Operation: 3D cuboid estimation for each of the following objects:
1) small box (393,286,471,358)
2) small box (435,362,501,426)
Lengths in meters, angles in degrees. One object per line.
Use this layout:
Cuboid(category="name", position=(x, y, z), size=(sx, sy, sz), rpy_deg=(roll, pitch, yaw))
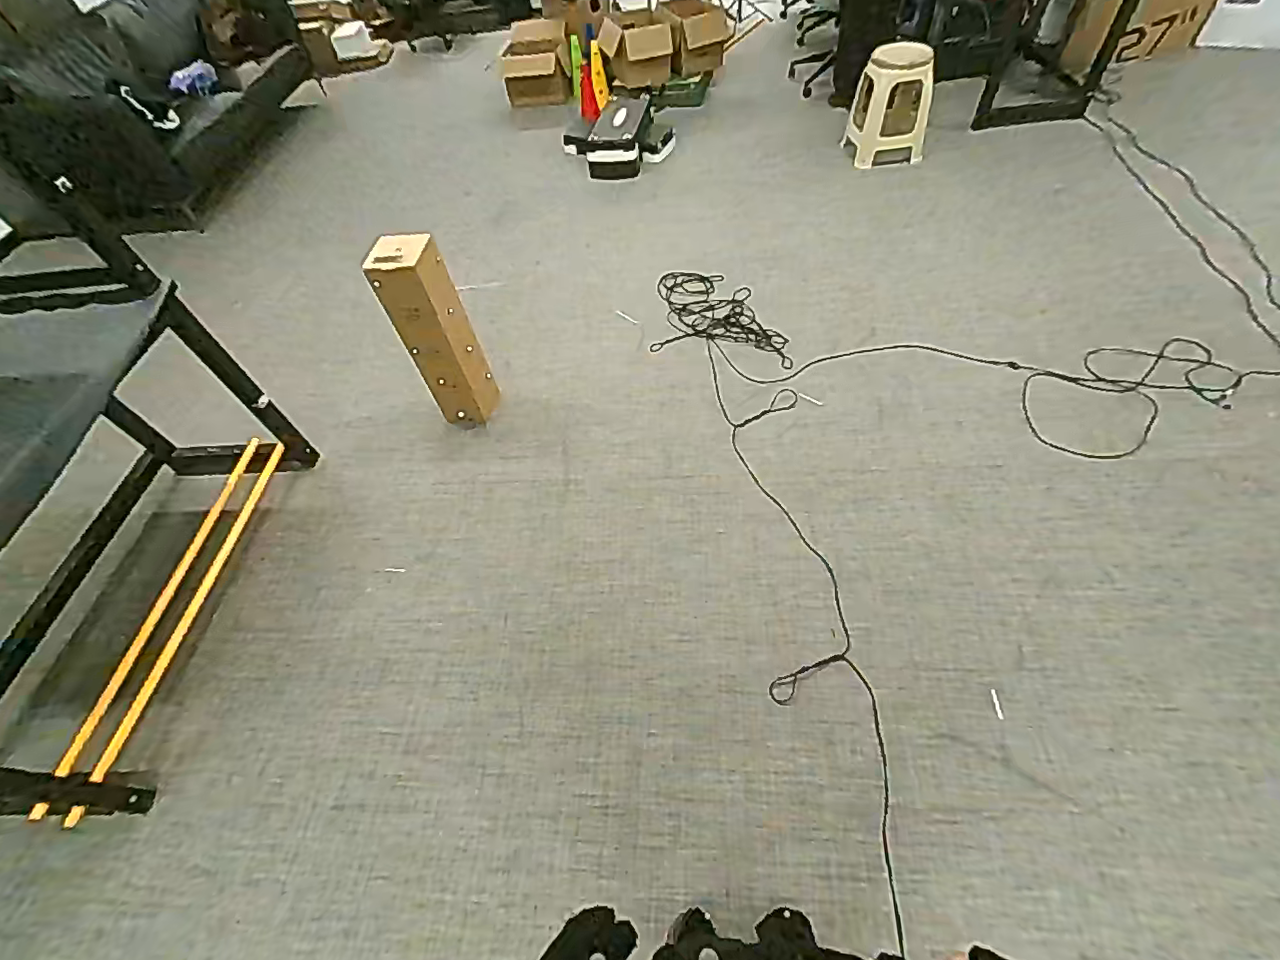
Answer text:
Cuboid(category="small box", position=(-0.686, -0.524, 1.812), size=(0.168, 0.176, 0.179), rpy_deg=(1, 53, 7))
Cuboid(category="small box", position=(-0.650, -0.330, 2.071), size=(0.168, 0.176, 0.179), rpy_deg=(2, 54, 10))
